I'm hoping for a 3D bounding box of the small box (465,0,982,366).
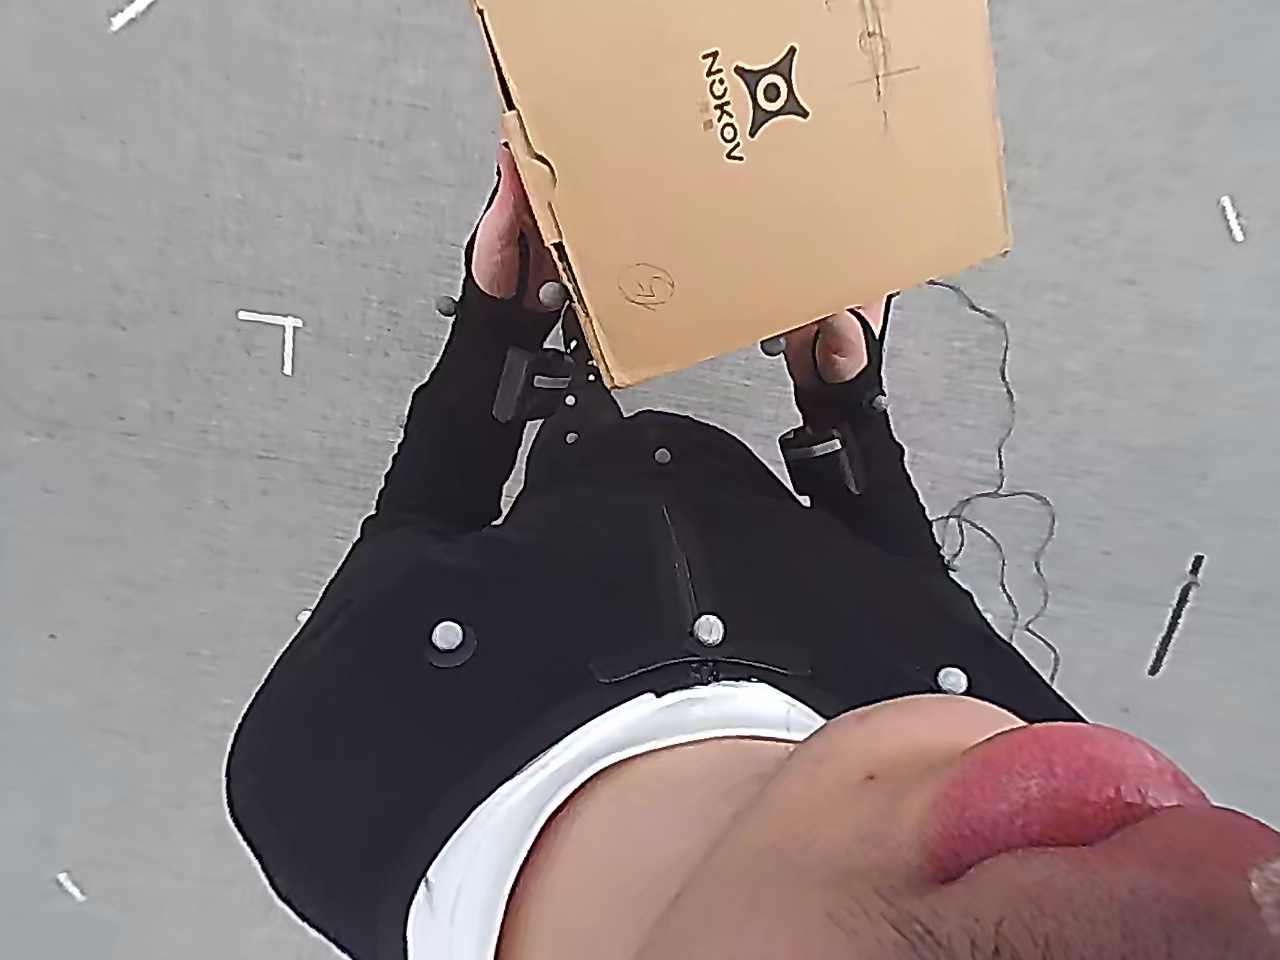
[{"bbox_3d":[0.031,-0.169,0.283,0.179,0.176,0.168,-20,109,-1],"label":"small box"}]
